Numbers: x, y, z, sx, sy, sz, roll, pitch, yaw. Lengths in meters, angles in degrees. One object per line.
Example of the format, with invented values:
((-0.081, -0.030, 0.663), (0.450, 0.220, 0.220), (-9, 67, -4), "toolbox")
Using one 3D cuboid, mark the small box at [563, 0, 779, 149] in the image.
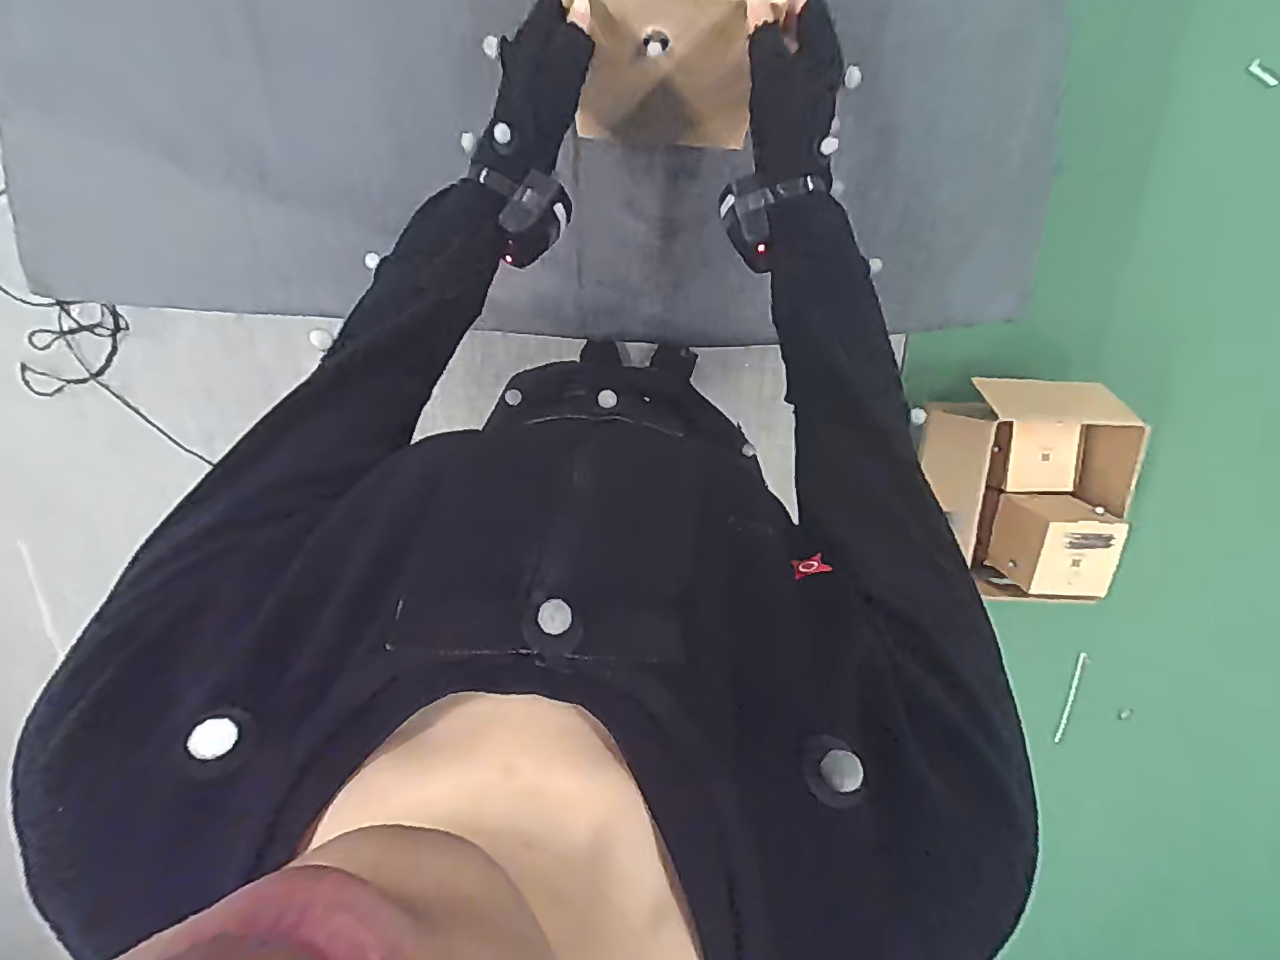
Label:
((0.025, -0.437, 0.493), (0.179, 0.176, 0.168), (4, 84, -2), "small box")
